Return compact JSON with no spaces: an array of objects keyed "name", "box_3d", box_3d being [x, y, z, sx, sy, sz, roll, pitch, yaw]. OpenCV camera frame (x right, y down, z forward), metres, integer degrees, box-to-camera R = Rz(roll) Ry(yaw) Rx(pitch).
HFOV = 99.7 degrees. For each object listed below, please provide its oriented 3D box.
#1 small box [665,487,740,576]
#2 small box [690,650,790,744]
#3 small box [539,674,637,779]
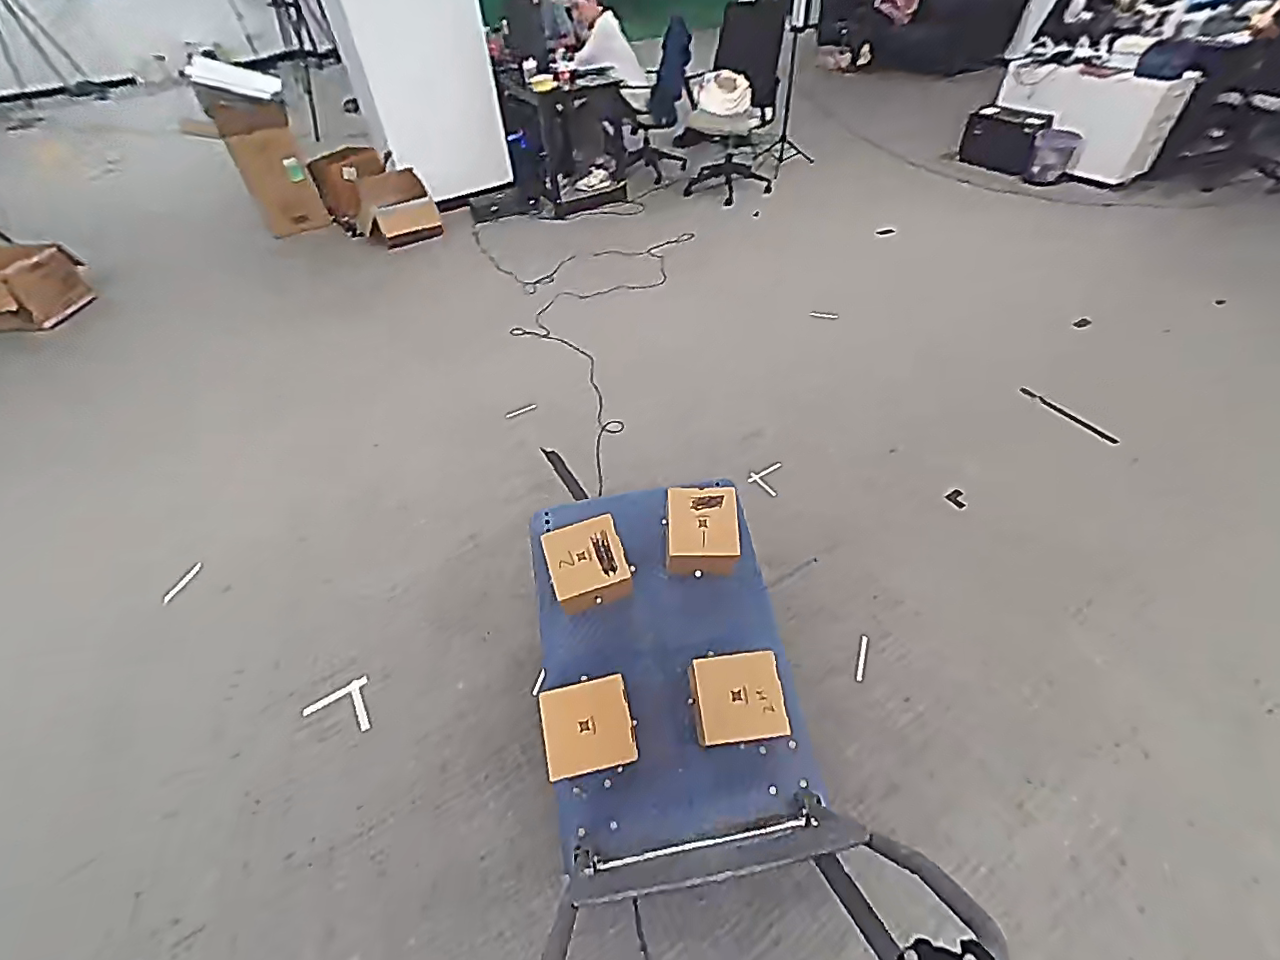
[{"name":"small box","box_3d":[0.149,0.130,1.348,0.168,0.176,0.179,0,65,0]},{"name":"small box","box_3d":[0.207,0.476,1.176,0.179,0.176,0.168,-6,64,-3]},{"name":"small box","box_3d":[-0.106,0.527,1.154,0.179,0.176,0.168,-11,64,-7]}]
